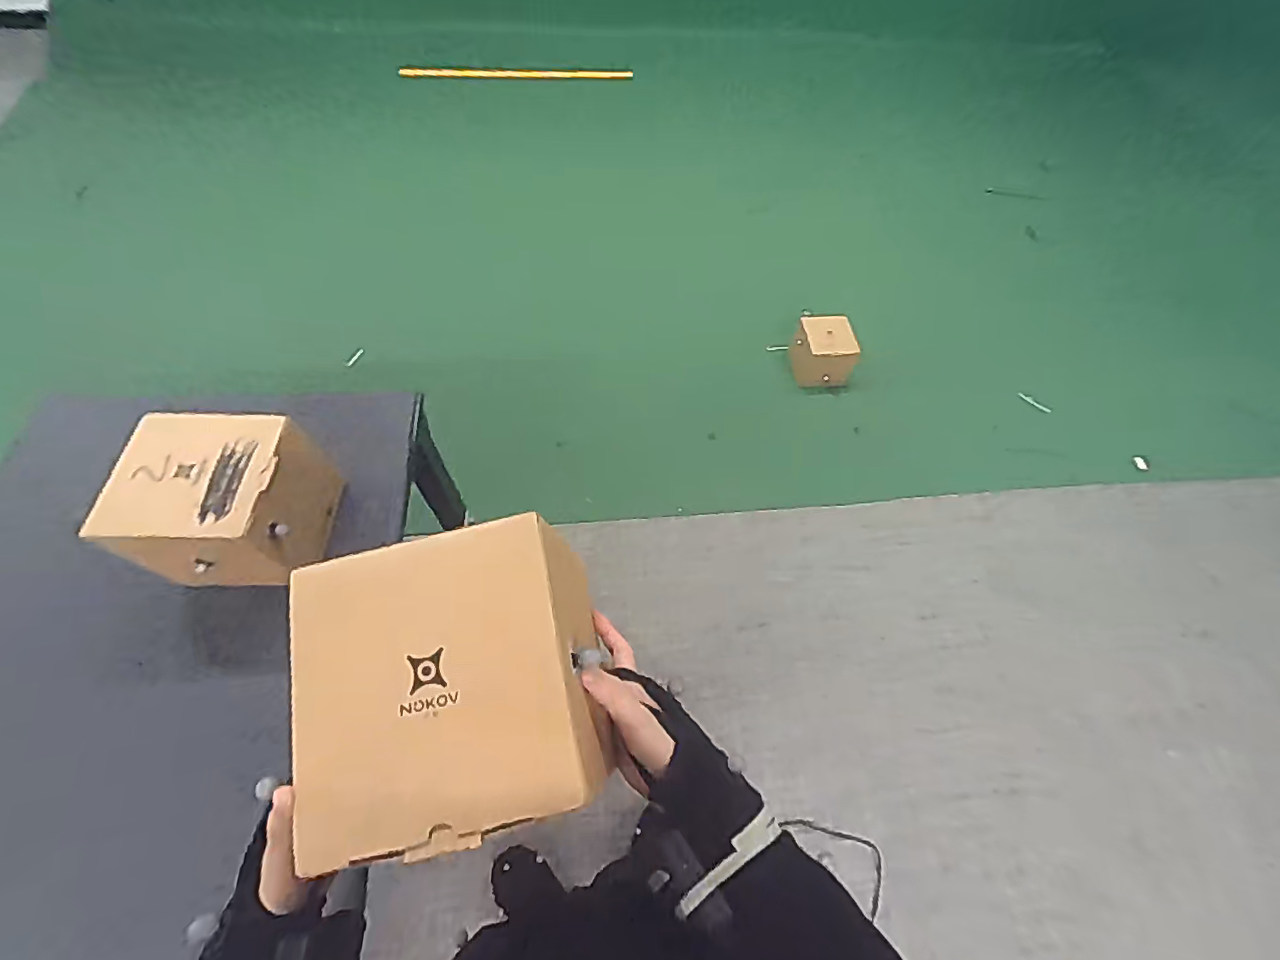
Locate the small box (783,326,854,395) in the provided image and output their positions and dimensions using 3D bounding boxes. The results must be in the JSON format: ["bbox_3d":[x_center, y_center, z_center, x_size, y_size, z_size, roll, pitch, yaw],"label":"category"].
[{"bbox_3d":[0.619,-0.420,1.900,0.168,0.176,0.179,-2,60,-6],"label":"small box"}]

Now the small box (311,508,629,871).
[{"bbox_3d":[-0.107,0.139,0.392,0.168,0.176,0.179,-13,71,-1],"label":"small box"}]
